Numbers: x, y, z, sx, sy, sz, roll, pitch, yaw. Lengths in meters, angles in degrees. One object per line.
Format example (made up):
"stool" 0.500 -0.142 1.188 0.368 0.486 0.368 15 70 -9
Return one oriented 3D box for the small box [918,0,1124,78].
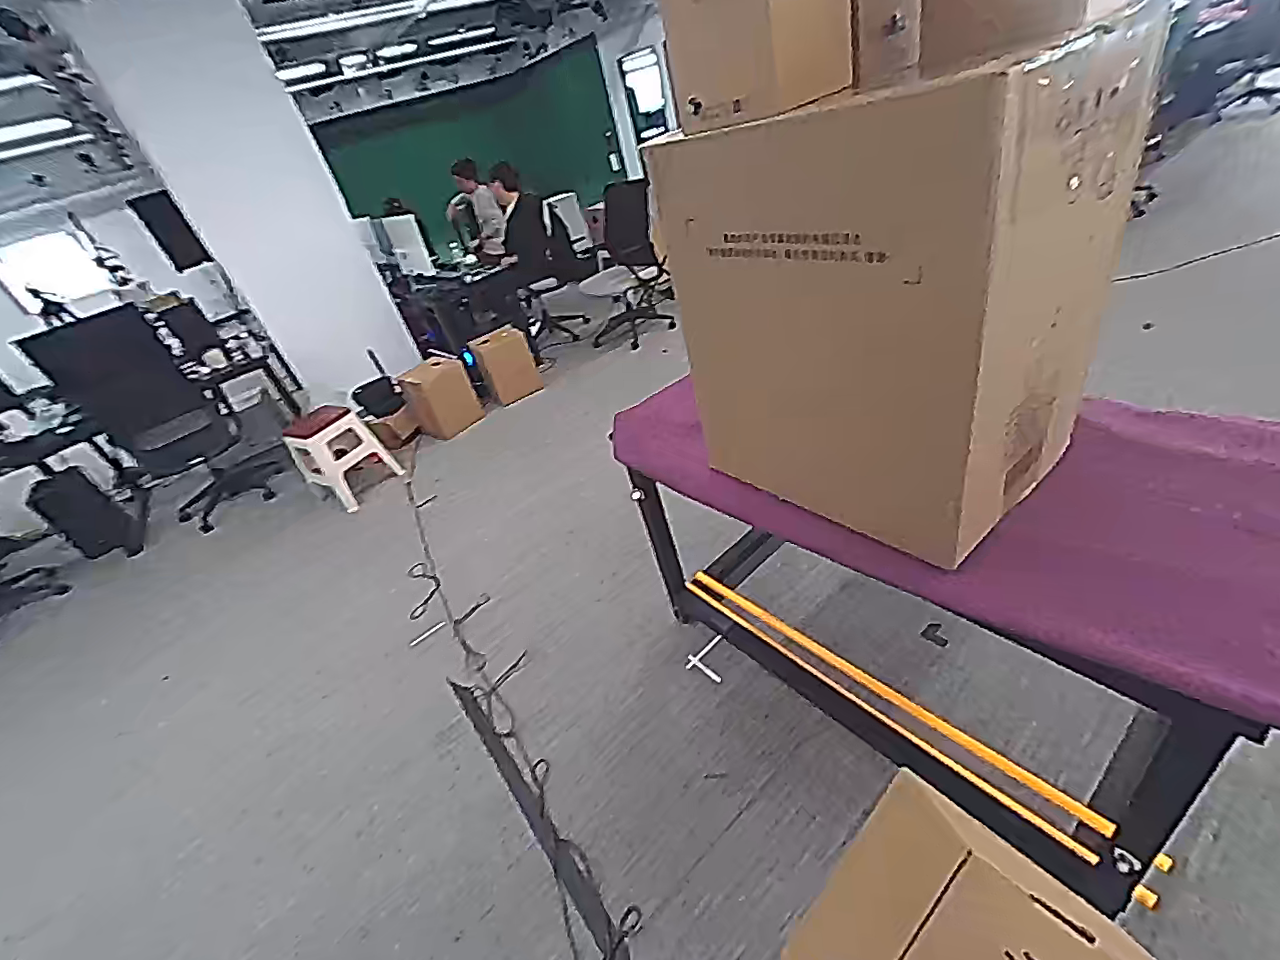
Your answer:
"small box" 0.447 -0.601 0.627 0.168 0.176 0.179 -38 37 -28
